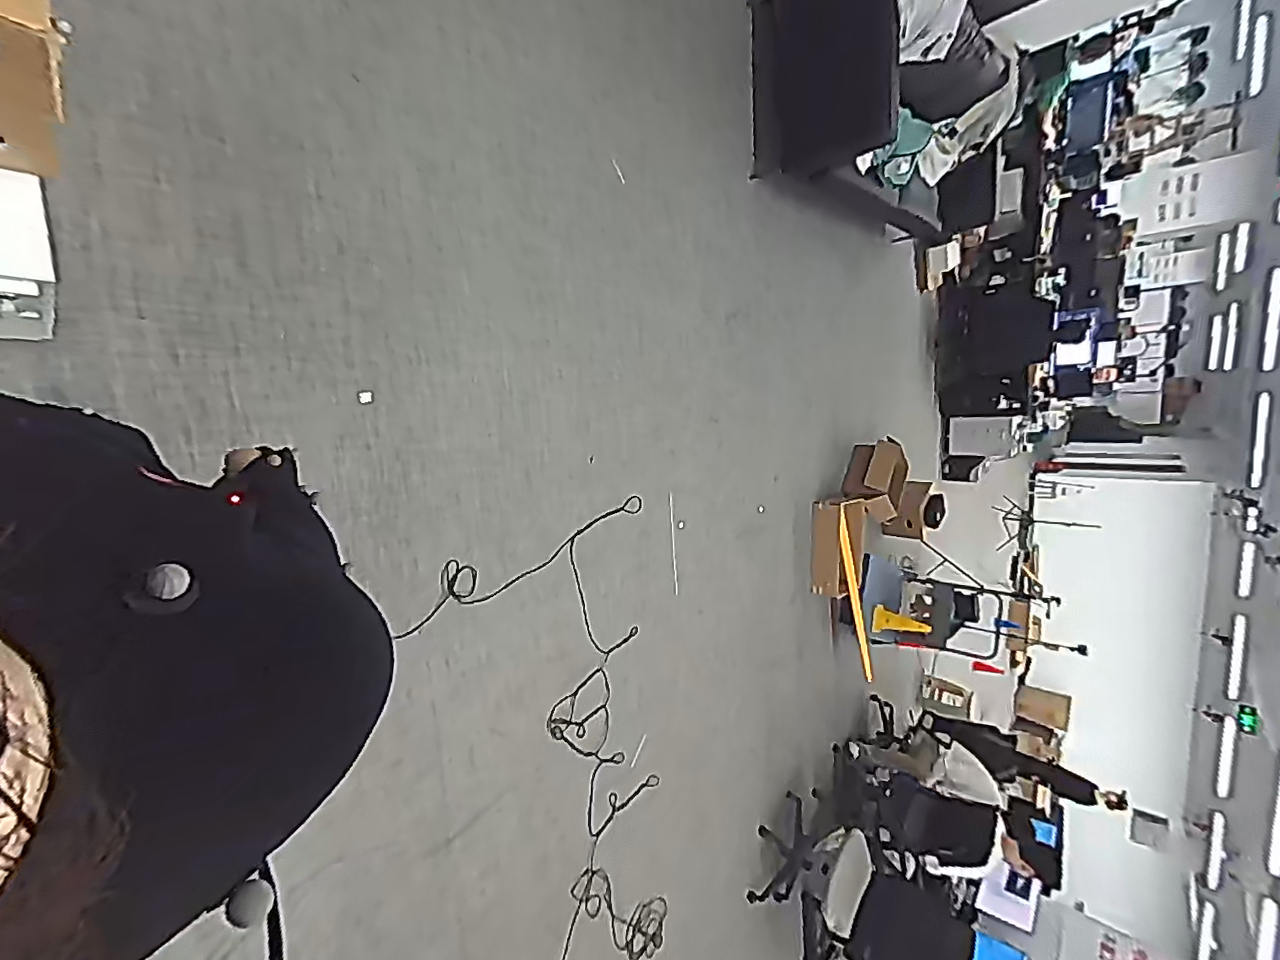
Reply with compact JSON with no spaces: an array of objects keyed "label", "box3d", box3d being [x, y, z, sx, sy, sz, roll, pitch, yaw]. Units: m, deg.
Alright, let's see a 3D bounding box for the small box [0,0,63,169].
[{"label":"small box","box3d":[-0.681,-0.423,0.510,0.179,0.176,0.168,-8,98,-45]}]
